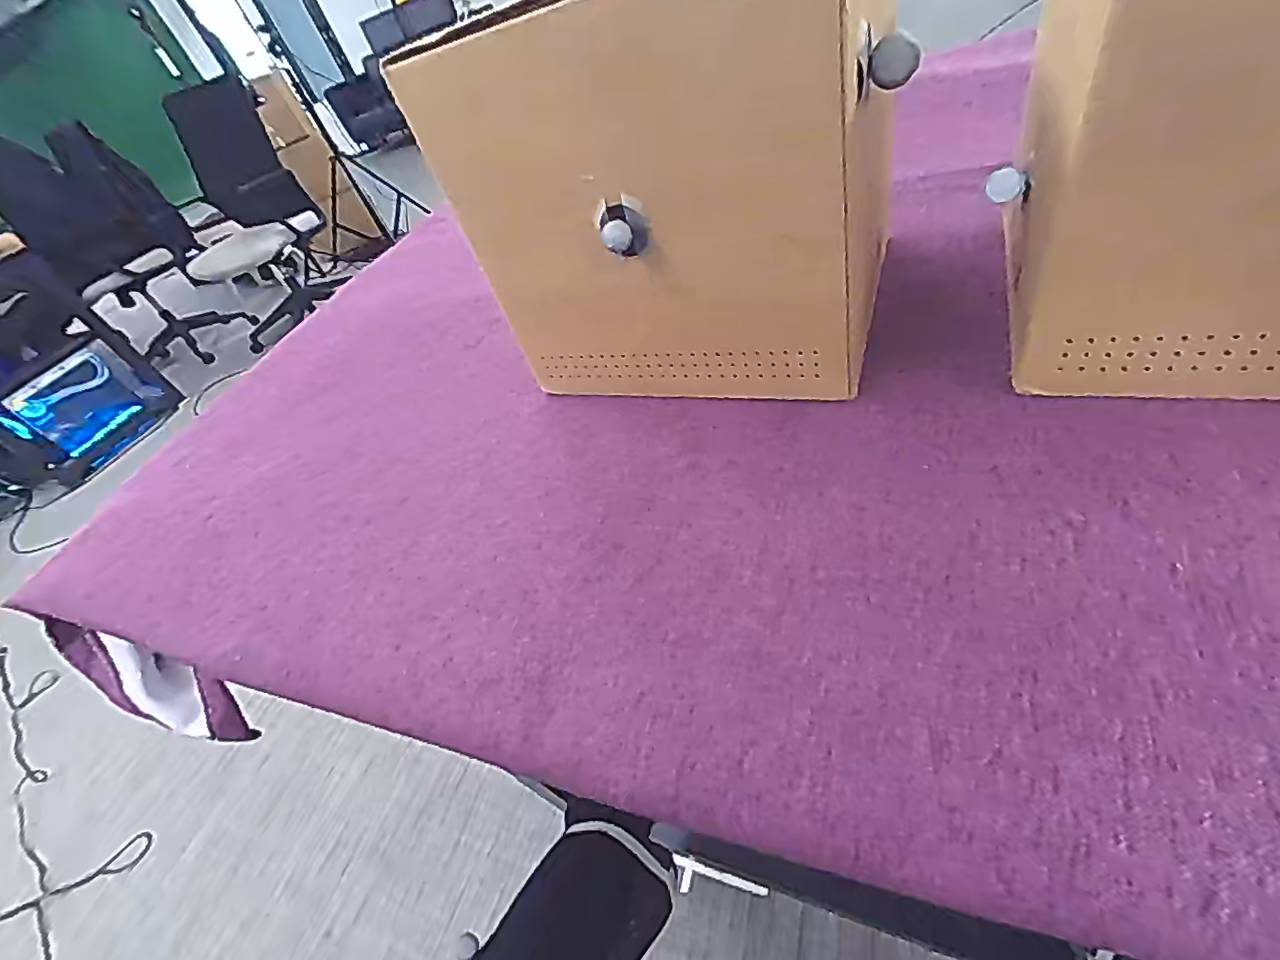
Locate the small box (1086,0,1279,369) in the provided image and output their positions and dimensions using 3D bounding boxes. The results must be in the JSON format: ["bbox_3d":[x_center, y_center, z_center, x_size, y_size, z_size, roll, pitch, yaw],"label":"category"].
[{"bbox_3d":[0.284,-0.150,0.146,0.179,0.176,0.168,-13,83,15],"label":"small box"}]
